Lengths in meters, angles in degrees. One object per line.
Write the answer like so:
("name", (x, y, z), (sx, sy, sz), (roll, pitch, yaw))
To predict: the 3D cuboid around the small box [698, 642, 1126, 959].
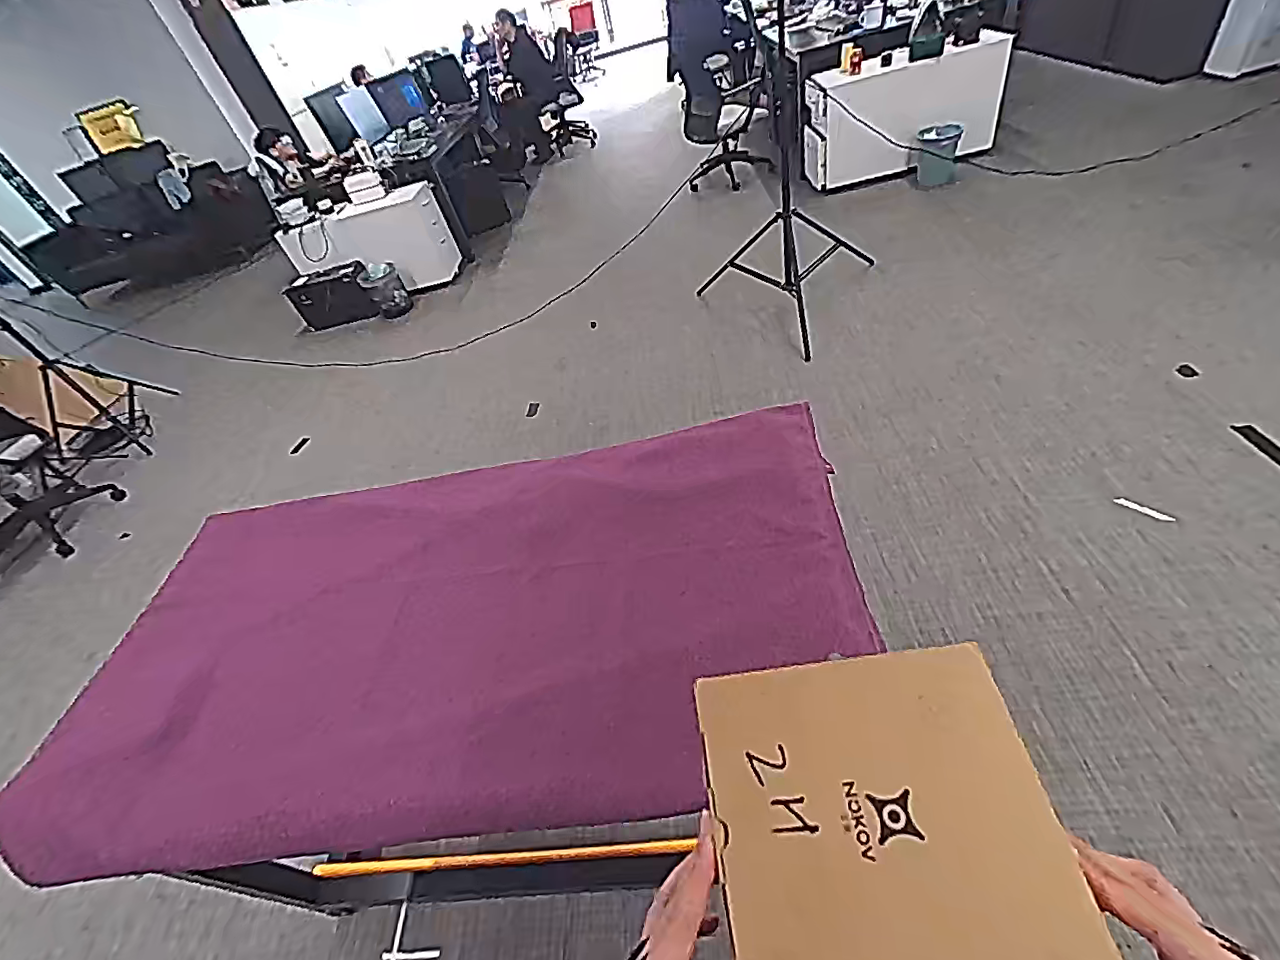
("small box", (0.139, 0.220, 0.349), (0.179, 0.176, 0.168), (-10, 53, 5))
